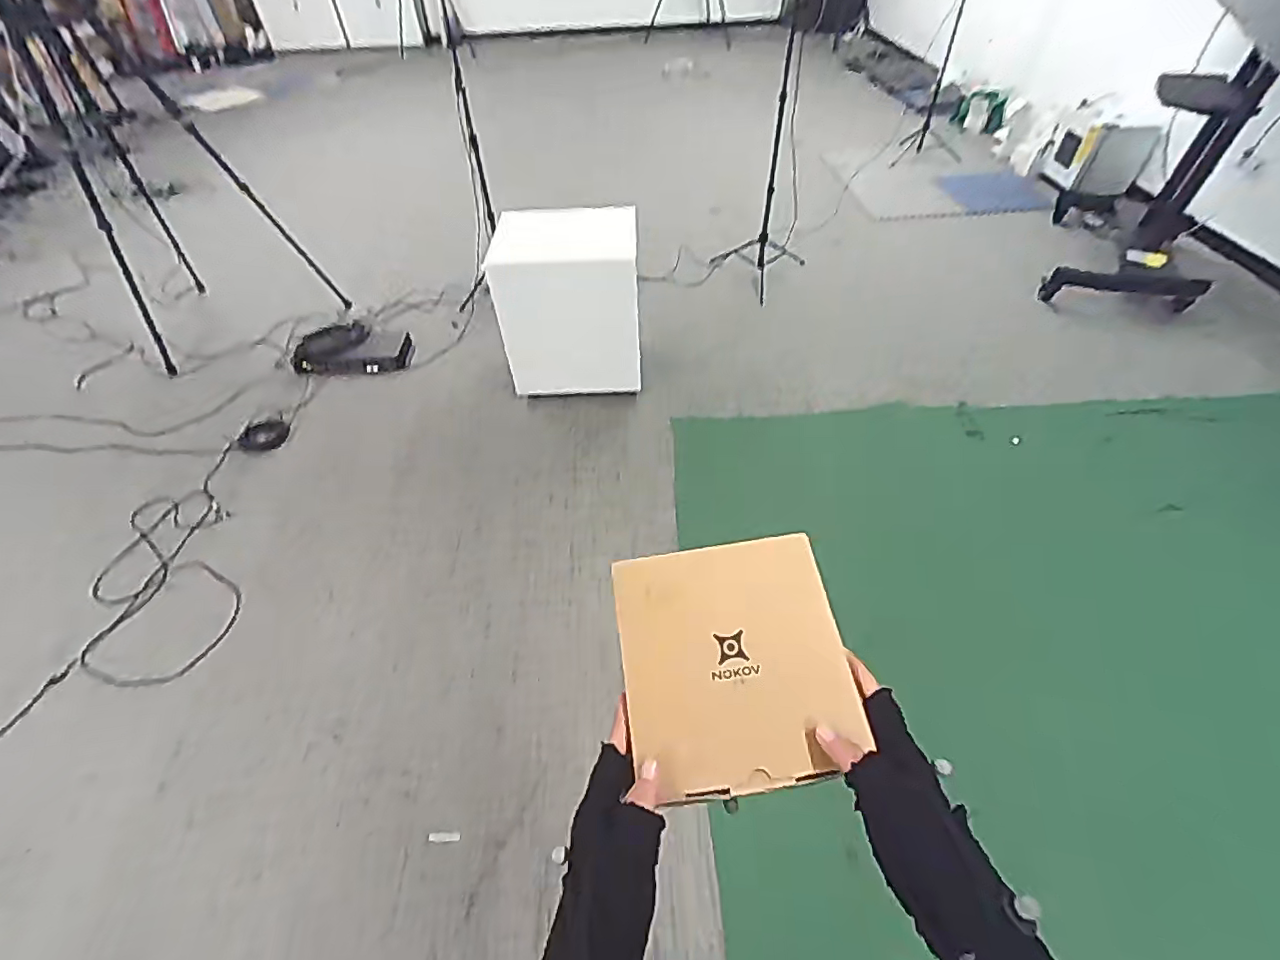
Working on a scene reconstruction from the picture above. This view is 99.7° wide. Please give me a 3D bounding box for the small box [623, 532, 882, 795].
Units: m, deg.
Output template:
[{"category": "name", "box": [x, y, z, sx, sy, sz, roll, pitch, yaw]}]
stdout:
[{"category": "small box", "box": [0.077, 0.167, 0.476, 0.168, 0.176, 0.179, -8, 60, -2]}]
